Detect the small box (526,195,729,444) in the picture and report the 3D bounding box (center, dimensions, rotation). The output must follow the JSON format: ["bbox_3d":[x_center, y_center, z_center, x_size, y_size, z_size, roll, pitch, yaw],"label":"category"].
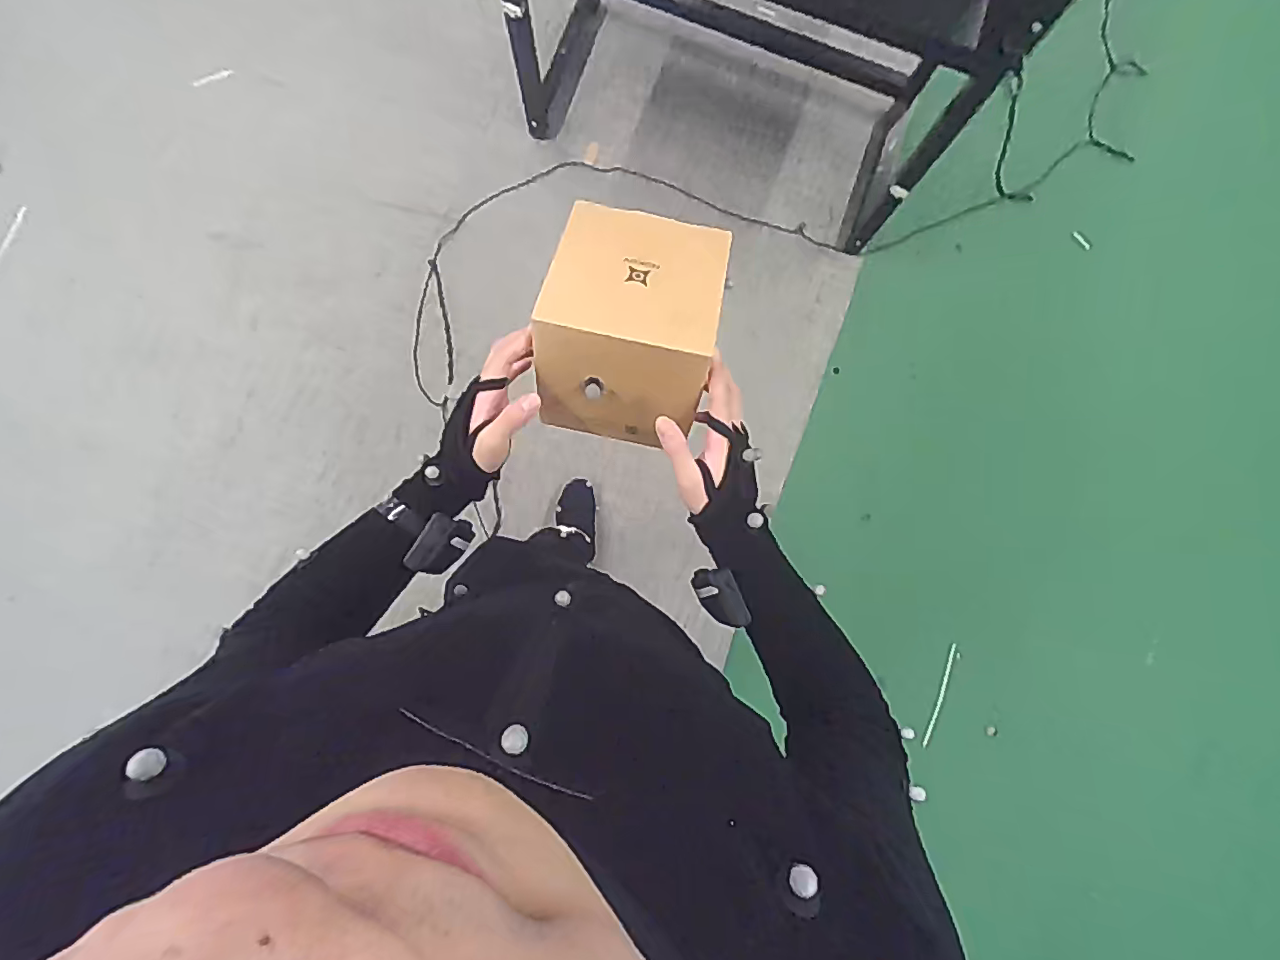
[{"bbox_3d":[-0.011,-0.160,0.573,0.168,0.176,0.179,11,60,0],"label":"small box"}]

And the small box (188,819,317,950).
[{"bbox_3d":[-0.945,0.989,1.342,0.168,0.176,0.179,24,81,0],"label":"small box"}]
